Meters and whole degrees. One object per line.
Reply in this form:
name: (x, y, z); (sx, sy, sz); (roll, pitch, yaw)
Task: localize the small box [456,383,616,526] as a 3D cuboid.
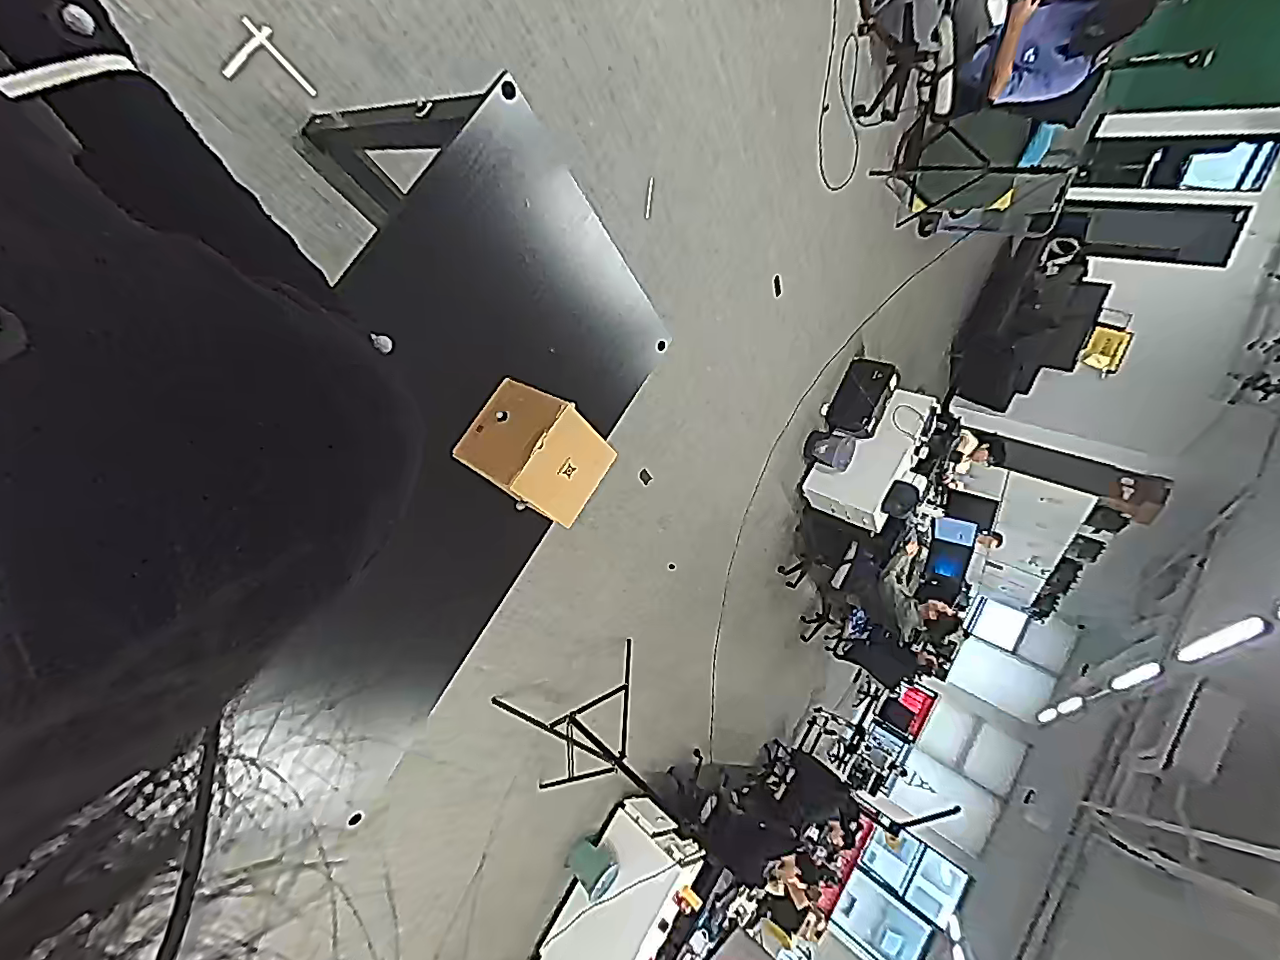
small box: (-0.181, -0.049, 0.950); (0.168, 0.176, 0.179); (-58, 143, -10)
